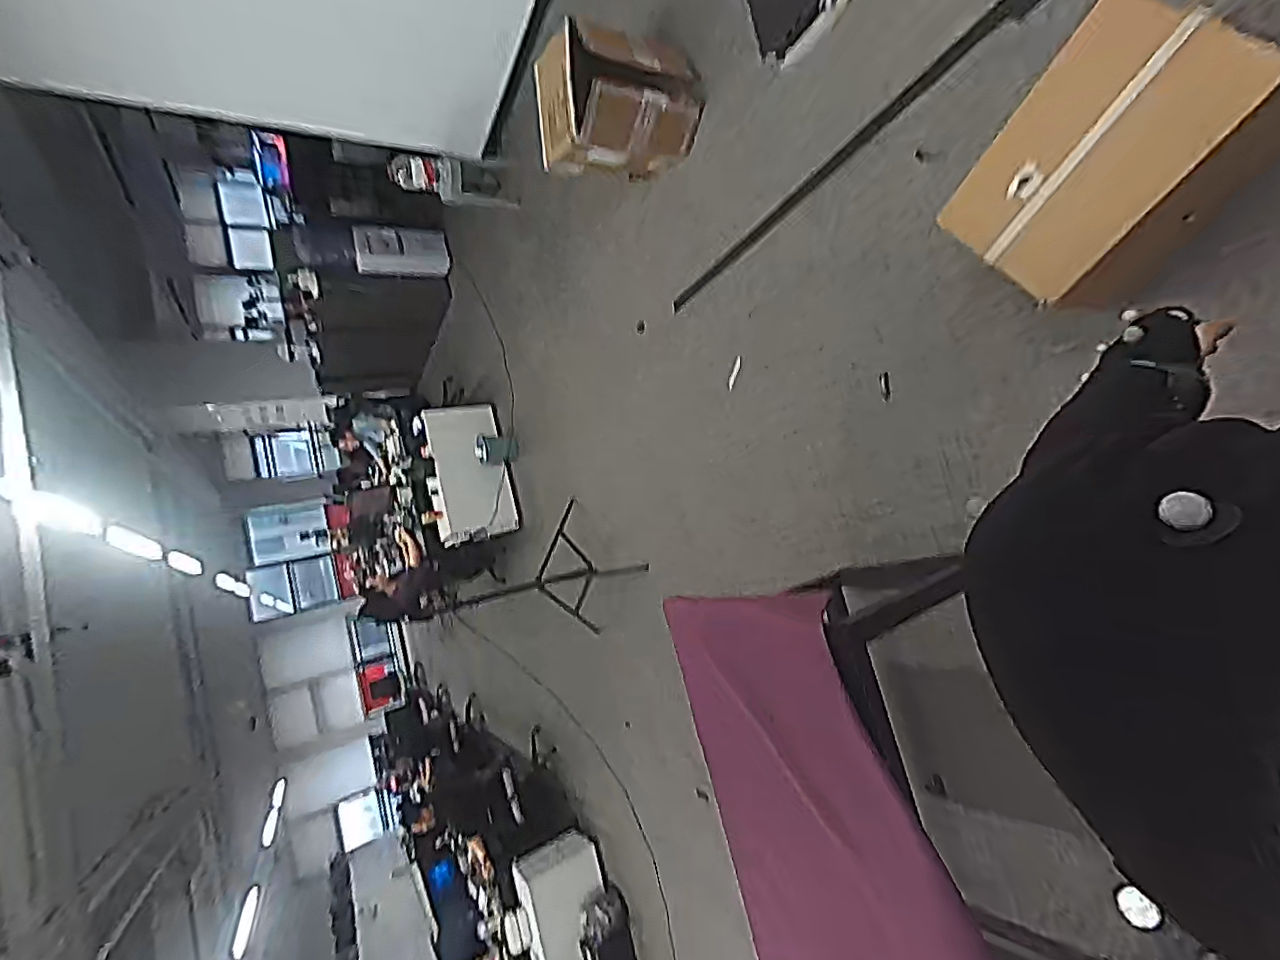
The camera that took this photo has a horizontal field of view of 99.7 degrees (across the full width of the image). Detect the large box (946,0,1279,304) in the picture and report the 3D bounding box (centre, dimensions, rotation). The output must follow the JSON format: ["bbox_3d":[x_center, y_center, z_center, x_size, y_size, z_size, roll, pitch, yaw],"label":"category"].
[{"bbox_3d":[0.897,-0.592,1.009,0.320,0.320,0.408,60,145,29],"label":"large box"}]
